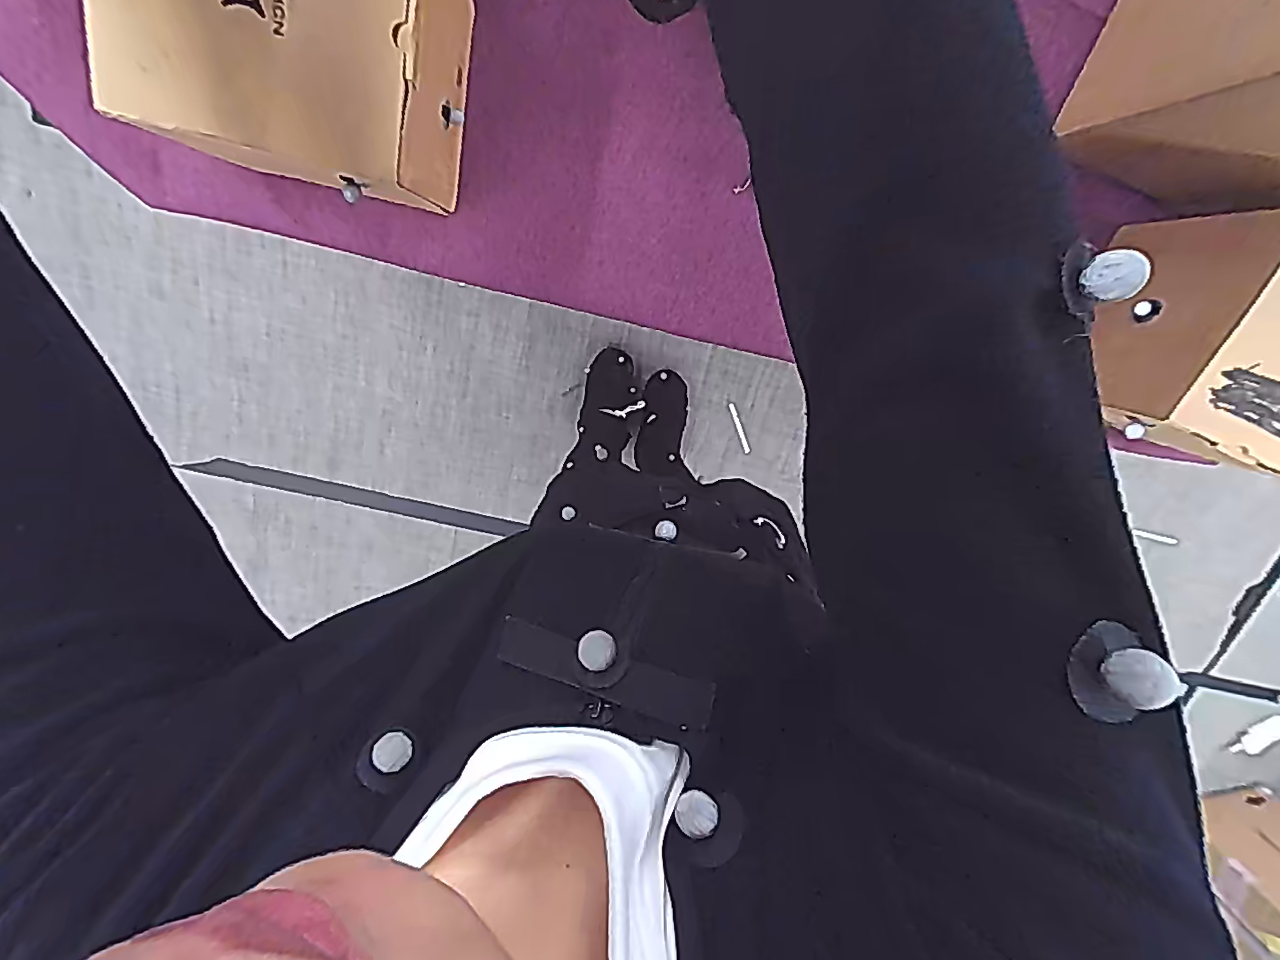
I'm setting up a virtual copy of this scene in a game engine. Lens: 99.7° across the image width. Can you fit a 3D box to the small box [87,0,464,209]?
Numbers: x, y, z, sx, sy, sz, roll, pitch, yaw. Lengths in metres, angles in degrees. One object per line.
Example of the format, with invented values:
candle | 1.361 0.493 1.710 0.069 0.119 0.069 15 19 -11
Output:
small box | -0.240 -0.311 0.395 0.179 0.176 0.168 9 109 -11
